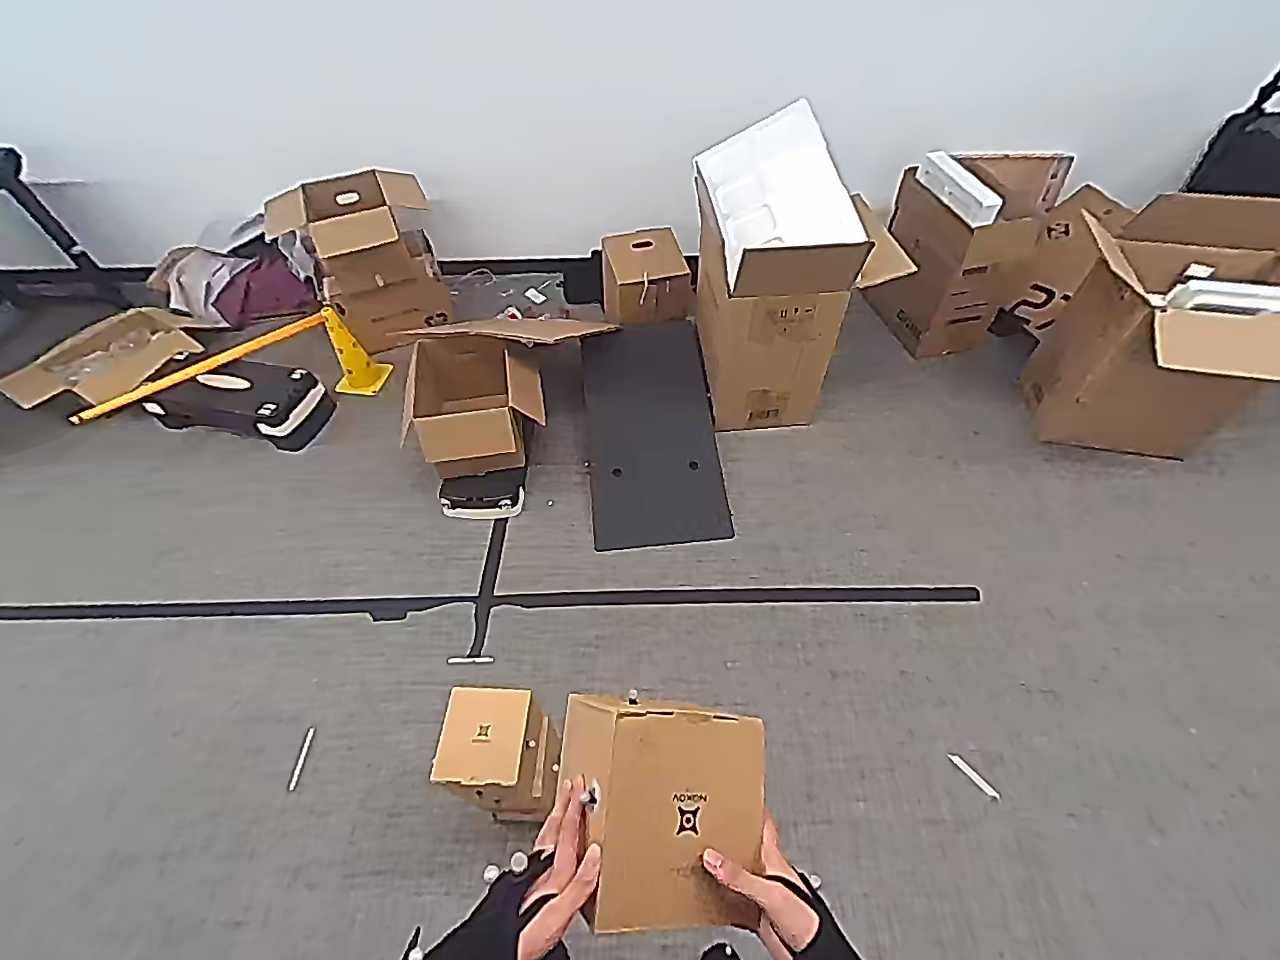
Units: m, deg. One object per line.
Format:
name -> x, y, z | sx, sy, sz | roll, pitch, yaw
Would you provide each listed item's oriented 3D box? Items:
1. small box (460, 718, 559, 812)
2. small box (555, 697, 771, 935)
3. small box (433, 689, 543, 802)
small box -> -0.288, 0.652, 1.233 | 0.179, 0.176, 0.168 | 0, 52, 0
small box -> 0.018, 0.330, 0.564 | 0.168, 0.176, 0.179 | 13, 69, -18
small box -> -0.300, 0.546, 1.109 | 0.168, 0.176, 0.179 | 2, 52, 2
